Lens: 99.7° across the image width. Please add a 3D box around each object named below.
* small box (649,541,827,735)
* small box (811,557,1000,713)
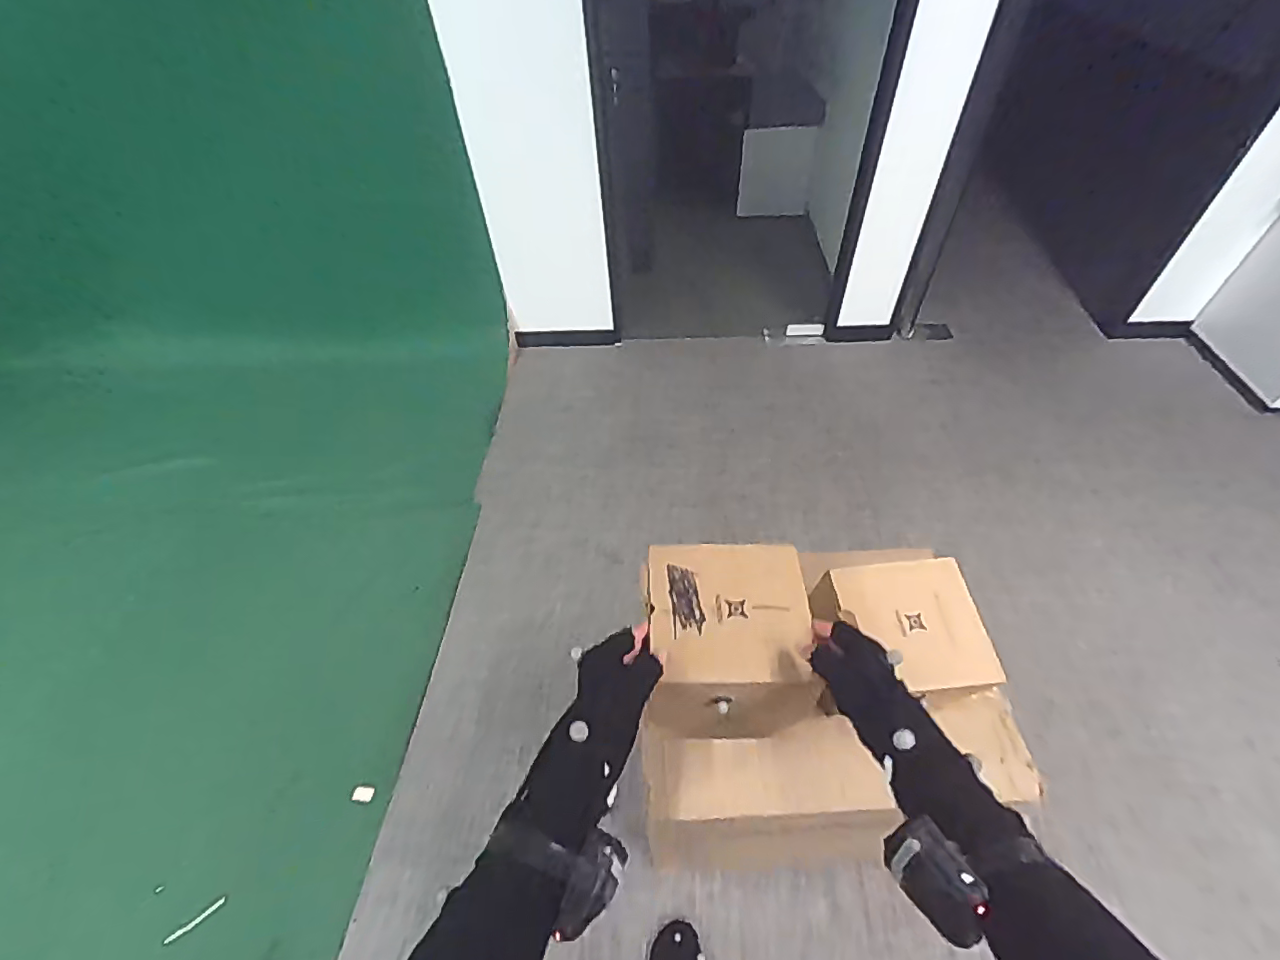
[{"bbox_3d":[0.099,0.188,0.638,0.179,0.176,0.168,0,47,1],"label":"small box"},{"bbox_3d":[0.347,0.223,0.763,0.179,0.176,0.168,-5,59,-3],"label":"small box"}]
